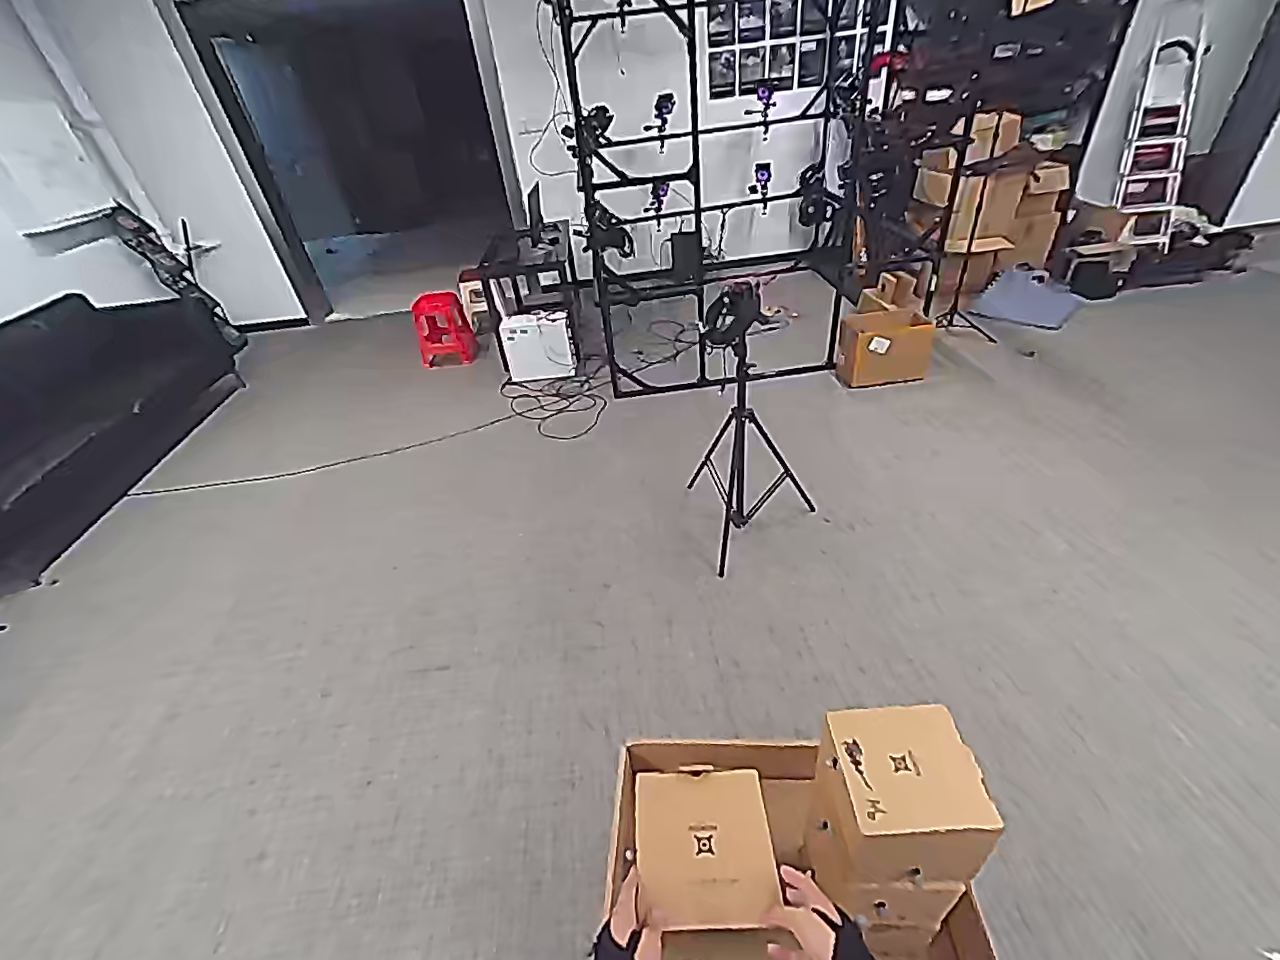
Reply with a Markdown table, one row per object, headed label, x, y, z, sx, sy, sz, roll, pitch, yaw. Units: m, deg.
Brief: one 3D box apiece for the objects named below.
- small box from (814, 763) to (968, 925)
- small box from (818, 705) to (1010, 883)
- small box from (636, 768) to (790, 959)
| label | x | y | z | sx | sy | sz | roll | pitch | yaw |
| --- | --- | --- | --- | --- | --- | --- | --- | --- | --- |
| small box | 0.379 | 0.573 | 0.853 | 0.168 | 0.176 | 0.179 | -4 | 36 | 5 |
| small box | 0.364 | 0.439 | 0.759 | 0.179 | 0.176 | 0.168 | -4 | 35 | 3 |
| small box | 0.078 | 0.499 | 0.689 | 0.168 | 0.176 | 0.179 | -1 | 33 | -1 |
